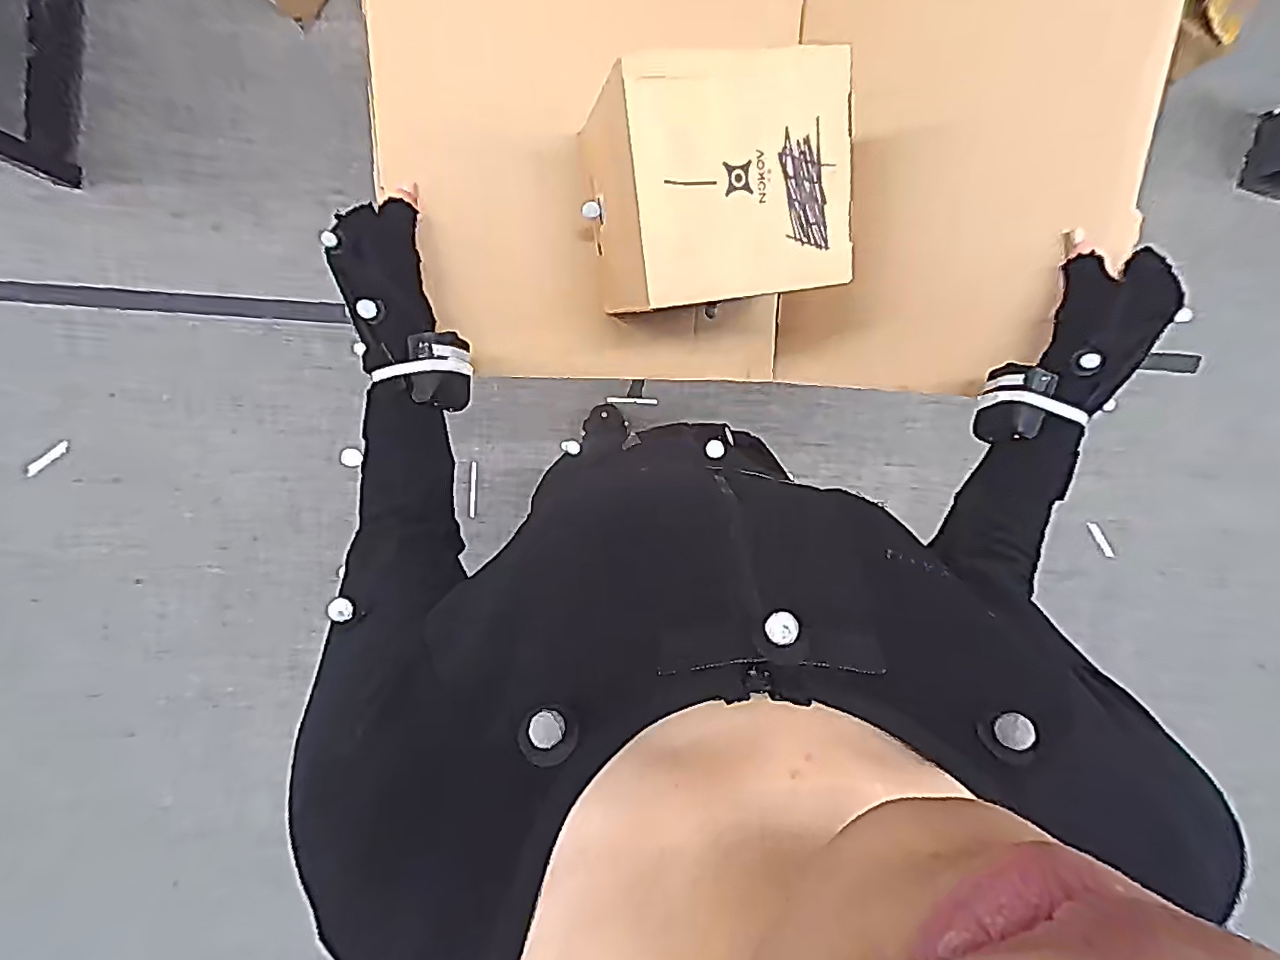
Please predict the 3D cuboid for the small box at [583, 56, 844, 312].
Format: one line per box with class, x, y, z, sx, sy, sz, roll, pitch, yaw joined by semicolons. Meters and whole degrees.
small box;0.057;-0.245;0.483;0.179;0.176;0.168;-11;108;-12
